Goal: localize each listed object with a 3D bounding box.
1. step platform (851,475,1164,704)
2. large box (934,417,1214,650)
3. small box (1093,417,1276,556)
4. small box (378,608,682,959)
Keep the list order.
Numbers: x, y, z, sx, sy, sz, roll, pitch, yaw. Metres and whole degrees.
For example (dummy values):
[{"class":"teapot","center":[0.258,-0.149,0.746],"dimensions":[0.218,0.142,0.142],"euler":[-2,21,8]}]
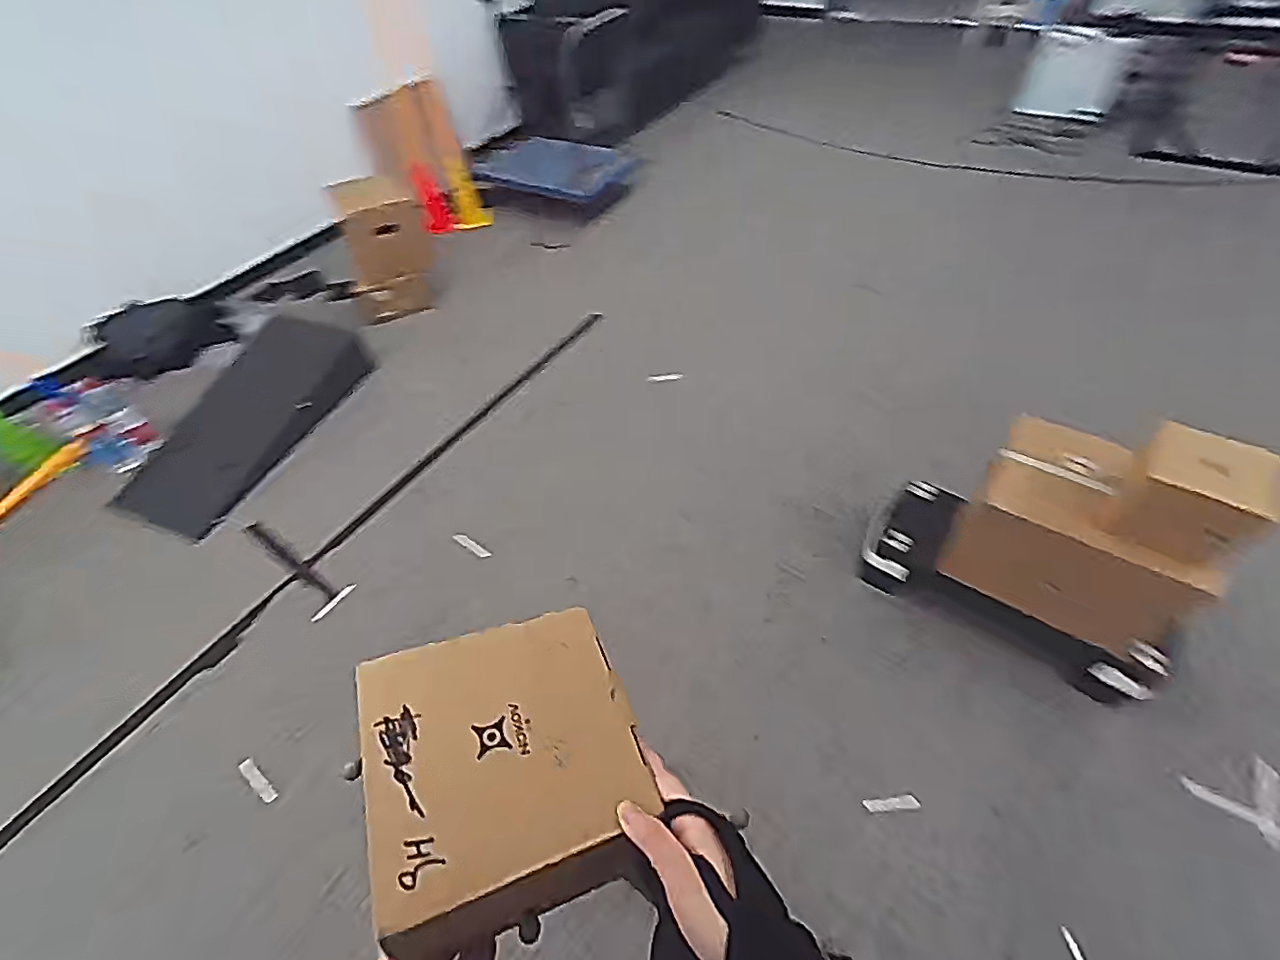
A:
[{"class":"step platform","center":[0.945,0.259,1.447],"dimensions":[0.684,0.204,0.286],"euler":[31,61,29]},{"class":"large box","center":[0.977,0.119,1.248],"dimensions":[0.408,0.320,0.320],"euler":[26,58,26]},{"class":"small box","center":[1.007,0.018,1.010],"dimensions":[0.179,0.176,0.168],"euler":[26,59,26]},{"class":"small box","center":[-0.095,0.226,0.413],"dimensions":[0.179,0.176,0.168],"euler":[-6,44,-24]}]
